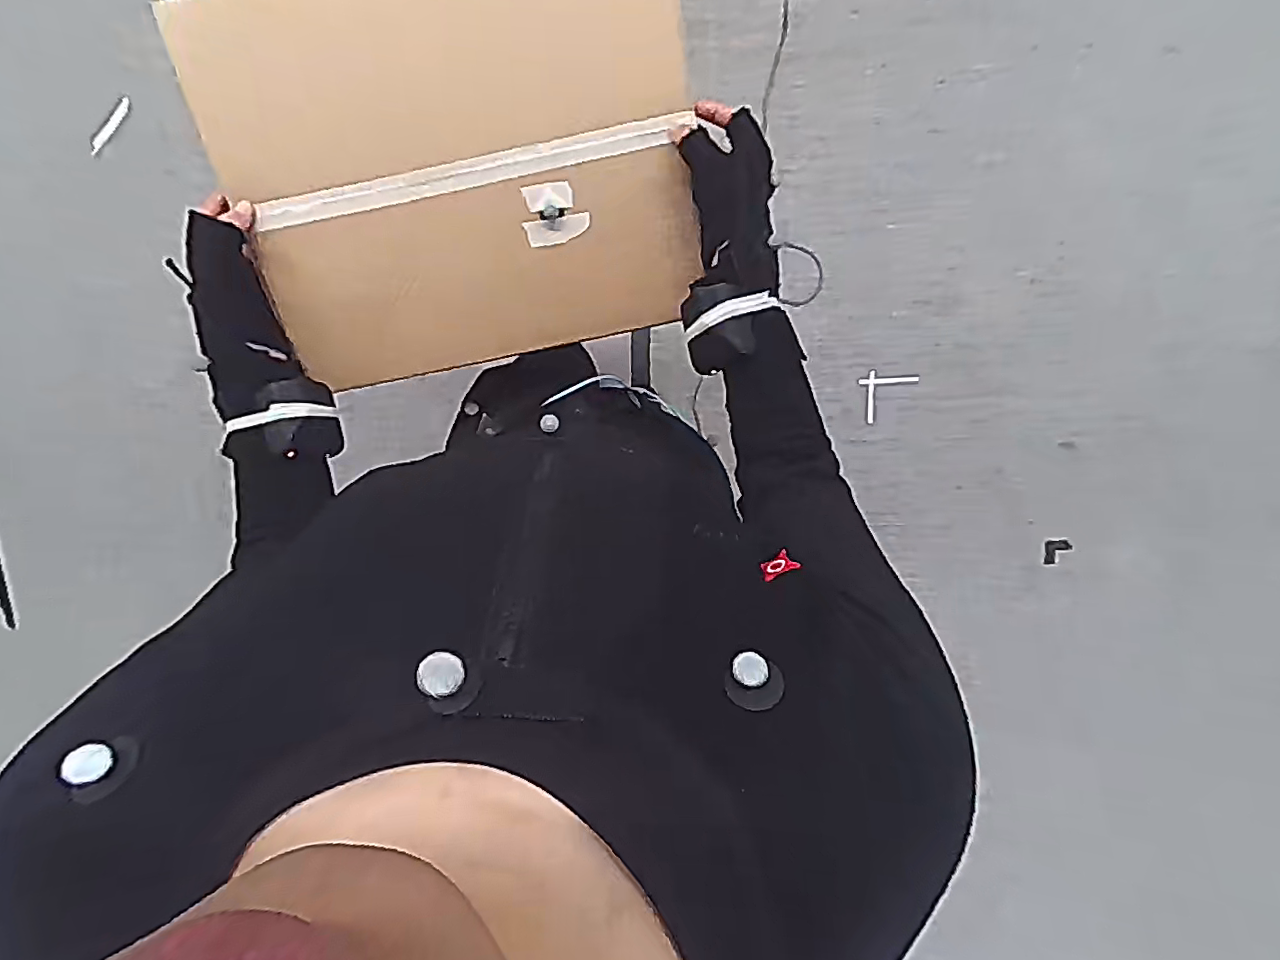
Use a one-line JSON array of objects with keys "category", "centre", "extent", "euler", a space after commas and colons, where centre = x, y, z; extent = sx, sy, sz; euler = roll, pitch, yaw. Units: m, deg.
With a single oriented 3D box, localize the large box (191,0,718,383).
[{"category": "large box", "centre": [-0.155, -0.323, 0.624], "extent": [0.408, 0.320, 0.320], "euler": [-11, 110, 0]}]
